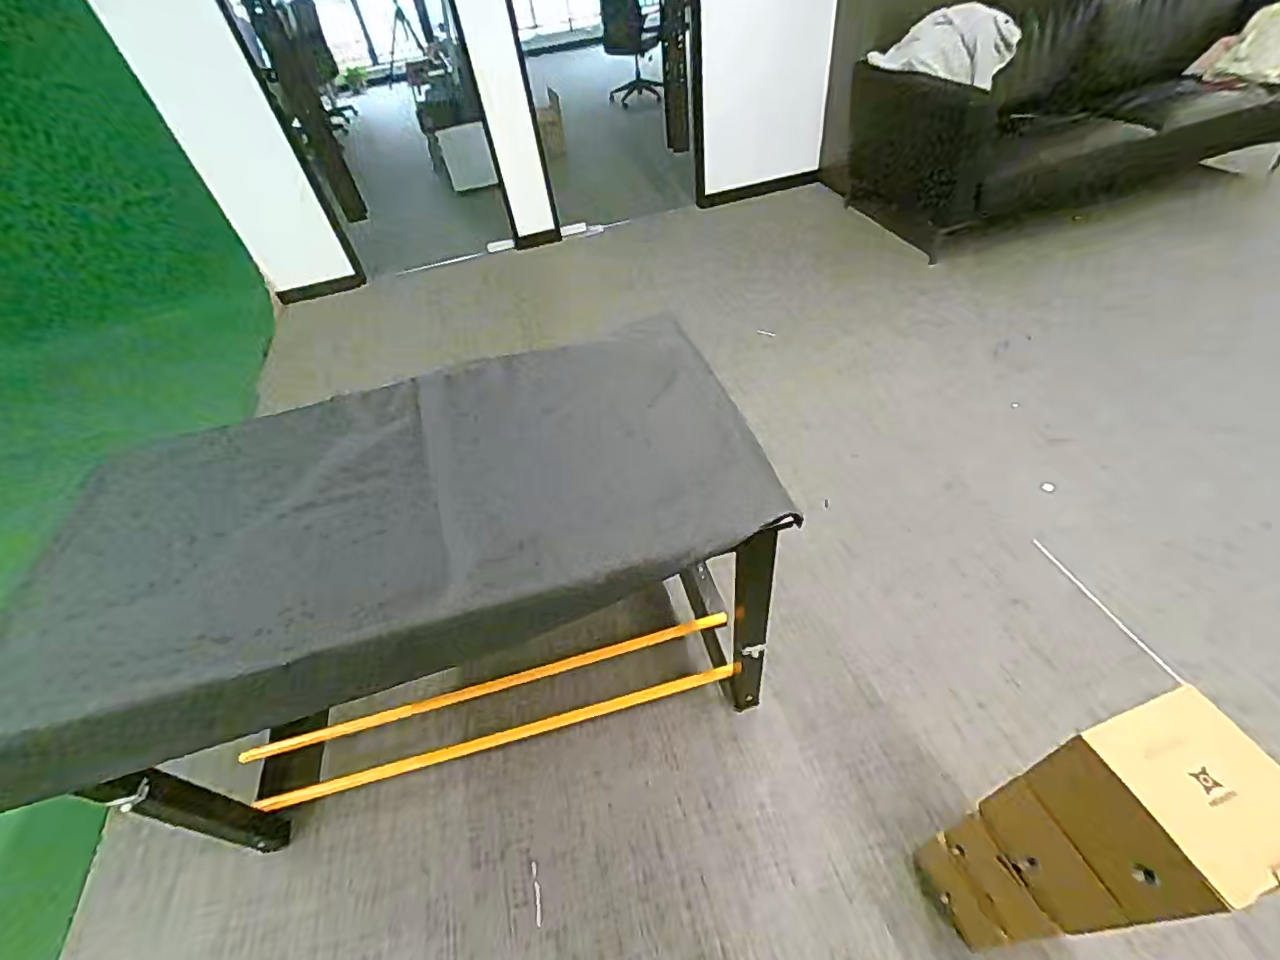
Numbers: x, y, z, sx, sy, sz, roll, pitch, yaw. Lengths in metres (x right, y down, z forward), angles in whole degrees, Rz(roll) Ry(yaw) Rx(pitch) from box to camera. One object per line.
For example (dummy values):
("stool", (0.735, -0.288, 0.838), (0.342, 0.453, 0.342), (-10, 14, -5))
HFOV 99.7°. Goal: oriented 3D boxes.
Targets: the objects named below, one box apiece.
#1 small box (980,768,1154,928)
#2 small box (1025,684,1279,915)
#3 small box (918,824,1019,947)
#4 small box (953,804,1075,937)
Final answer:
("small box", (0.629, 0.490, 0.756), (0.168, 0.176, 0.179), (-18, 48, -9))
("small box", (0.615, 0.379, 0.637), (0.168, 0.176, 0.179), (-18, 46, -9))
("small box", (0.649, 0.717, 0.991), (0.179, 0.176, 0.168), (-20, 47, -9))
("small box", (0.643, 0.603, 0.873), (0.179, 0.176, 0.168), (-18, 47, -10))
